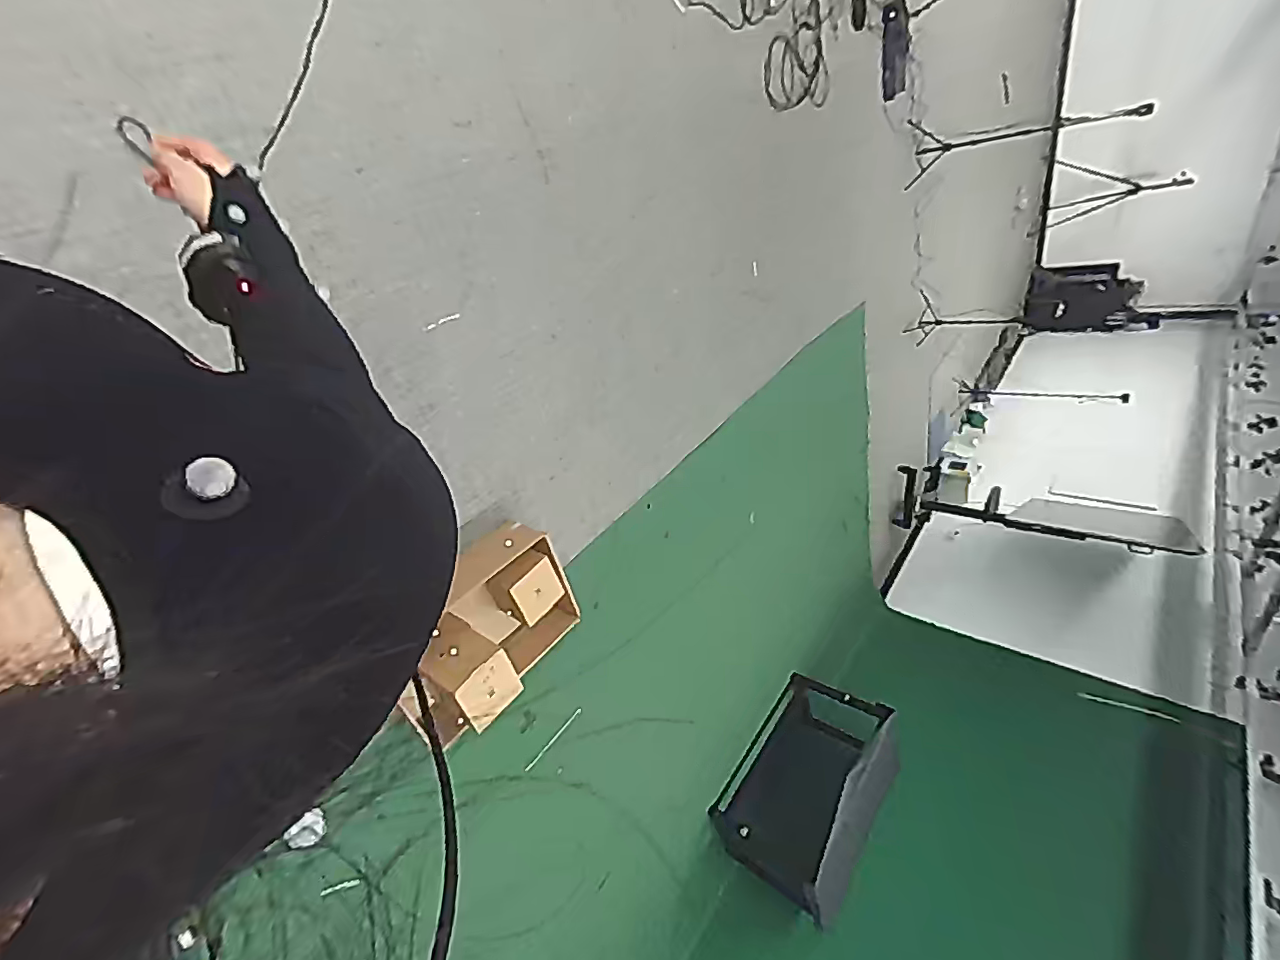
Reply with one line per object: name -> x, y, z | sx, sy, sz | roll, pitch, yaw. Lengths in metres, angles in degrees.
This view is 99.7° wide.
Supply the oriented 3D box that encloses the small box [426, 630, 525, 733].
small box -> -0.454, 0.549, 1.495 | 0.168, 0.176, 0.179 | -41, 128, -36
